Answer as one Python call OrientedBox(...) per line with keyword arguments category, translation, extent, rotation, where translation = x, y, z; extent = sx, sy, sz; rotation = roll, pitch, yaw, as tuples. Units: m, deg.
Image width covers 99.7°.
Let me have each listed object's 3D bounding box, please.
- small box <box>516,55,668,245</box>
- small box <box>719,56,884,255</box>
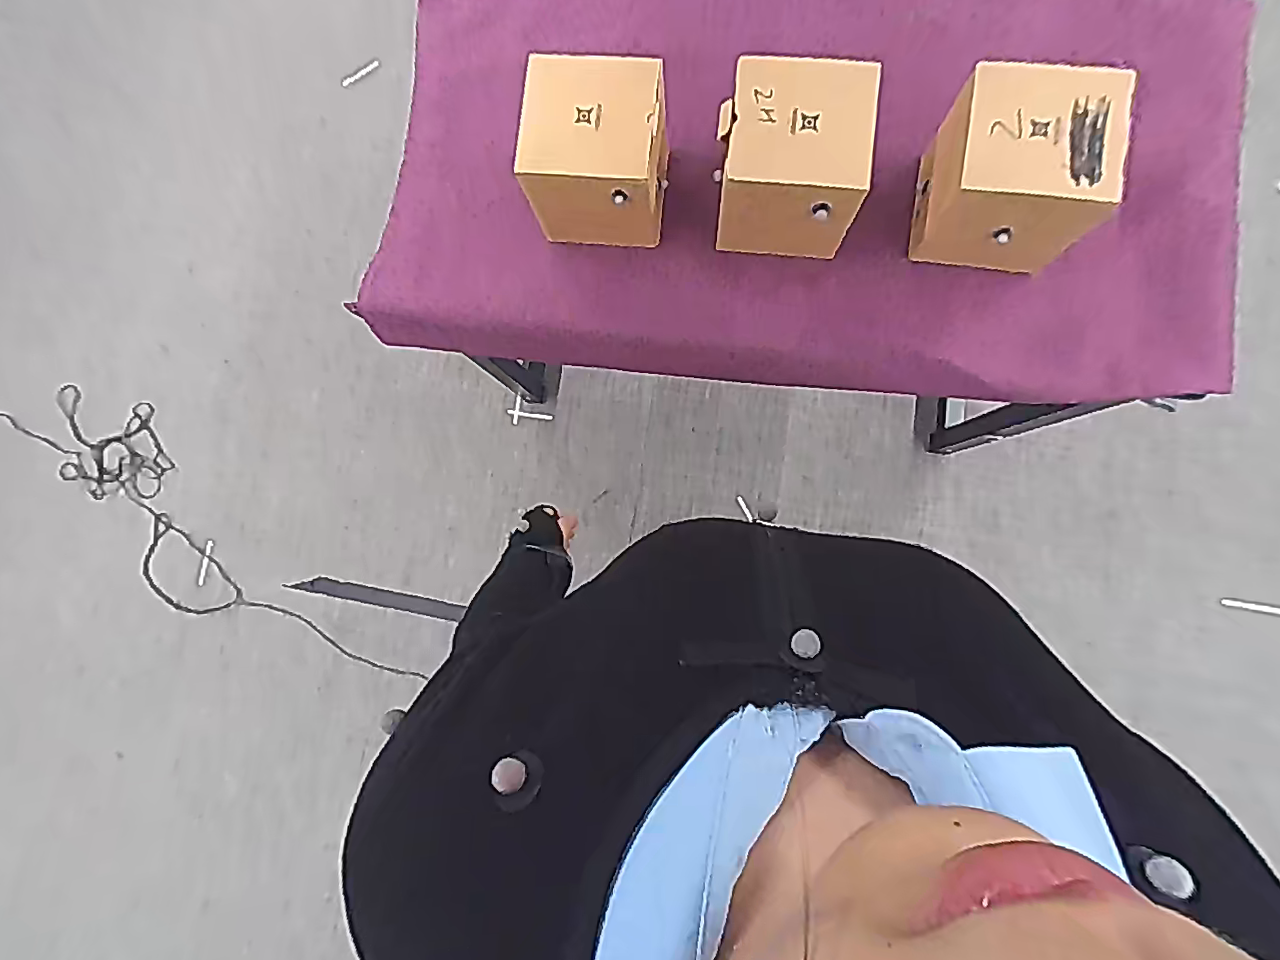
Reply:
OrientedBox(category="small box", translation=(-0.057, -0.453, 0.764), extent=(0.179, 0.176, 0.168), rotation=(5, 85, 5))
OrientedBox(category="small box", translation=(0.207, -0.426, 0.735), extent=(0.179, 0.176, 0.168), rotation=(7, 85, 6))
